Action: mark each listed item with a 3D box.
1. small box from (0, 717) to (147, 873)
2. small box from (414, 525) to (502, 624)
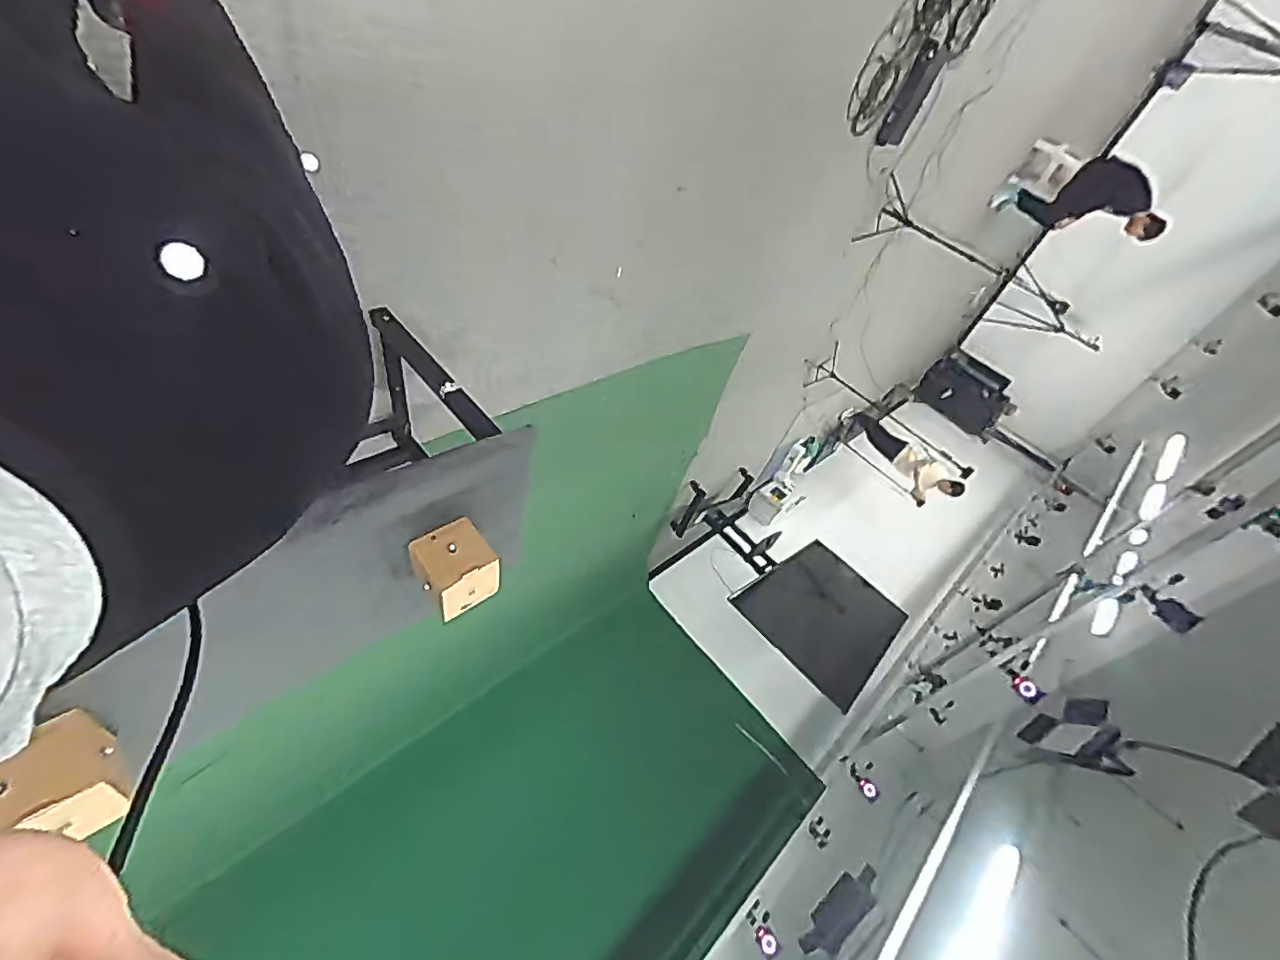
[{"bbox_3d":[-1.070,0.574,1.001,0.168,0.176,0.179,-26,151,-37],"label":"small box"},{"bbox_3d":[-0.487,0.244,1.453,0.168,0.176,0.179,-29,151,-33],"label":"small box"}]
